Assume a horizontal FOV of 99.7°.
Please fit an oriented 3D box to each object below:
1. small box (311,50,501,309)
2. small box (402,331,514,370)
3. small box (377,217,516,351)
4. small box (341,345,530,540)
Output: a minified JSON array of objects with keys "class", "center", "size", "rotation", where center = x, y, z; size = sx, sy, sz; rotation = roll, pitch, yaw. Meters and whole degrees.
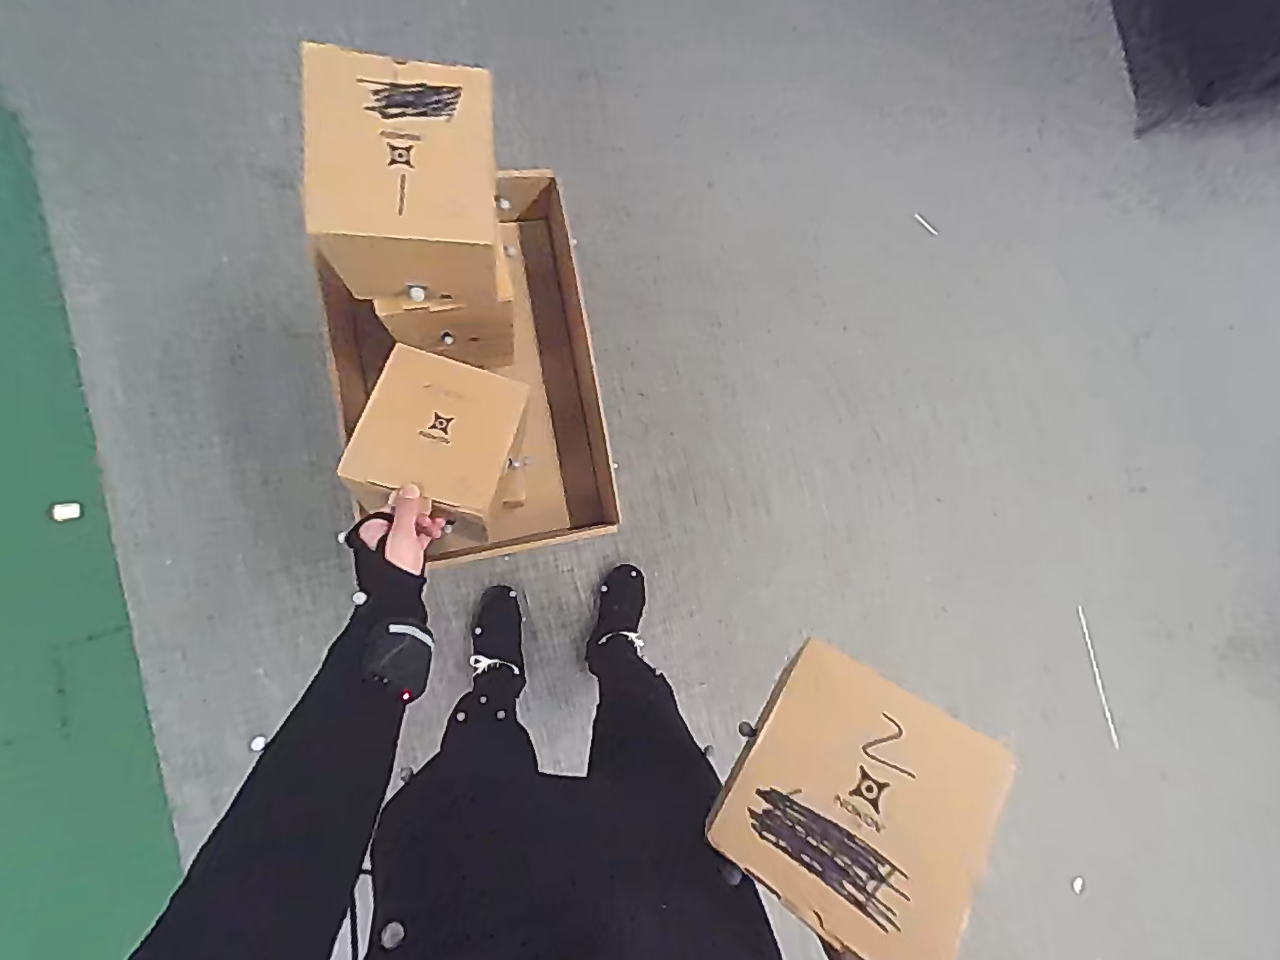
[{"class":"small box","center":[-0.238,-0.304,0.586],"size":[0.168,0.176,0.179],"rotation":[-1,89,-14]},{"class":"small box","center":[-0.309,-0.287,0.904],"size":[0.168,0.176,0.179],"rotation":[-11,90,-13]},{"class":"small box","center":[-0.271,-0.293,0.747],"size":[0.168,0.176,0.179],"rotation":[-11,91,-14]},{"class":"small box","center":[-0.249,-0.036,0.700],"size":[0.168,0.176,0.179],"rotation":[18,68,-10]}]
